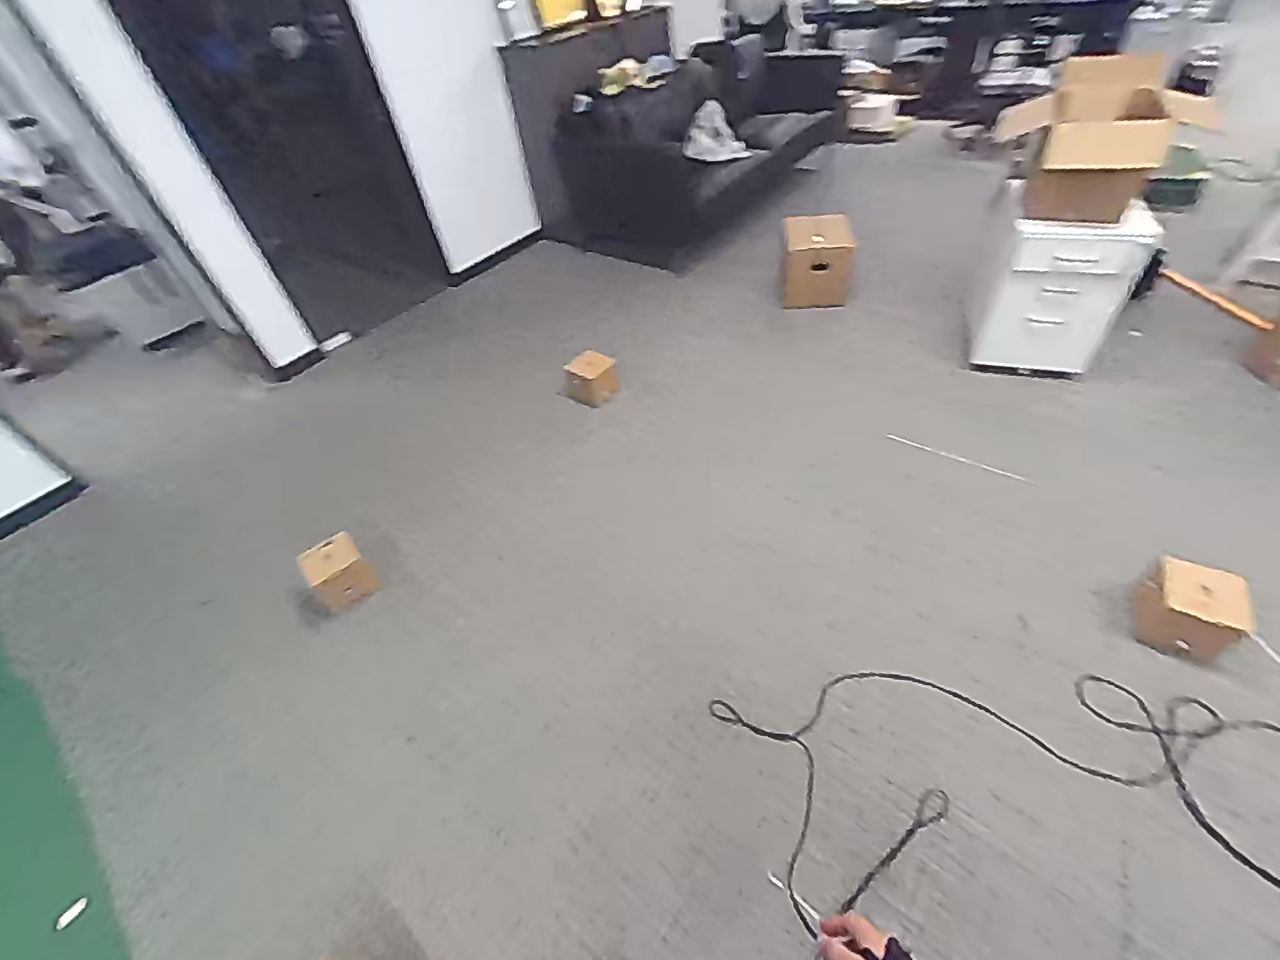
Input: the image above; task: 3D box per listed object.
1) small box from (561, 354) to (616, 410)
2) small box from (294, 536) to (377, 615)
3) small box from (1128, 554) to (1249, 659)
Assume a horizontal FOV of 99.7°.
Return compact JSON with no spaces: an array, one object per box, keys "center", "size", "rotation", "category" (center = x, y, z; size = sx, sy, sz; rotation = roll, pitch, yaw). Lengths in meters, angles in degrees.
[{"center":[-0.230,-0.446,2.472],"size":[0.179,0.176,0.168],"rotation":[27,56,29],"category":"small box"},{"center":[-1.022,0.330,1.826],"size":[0.168,0.176,0.179],"rotation":[-34,50,-23],"category":"small box"},{"center":[1.421,0.331,1.416],"size":[0.168,0.176,0.179],"rotation":[18,52,24],"category":"small box"}]
